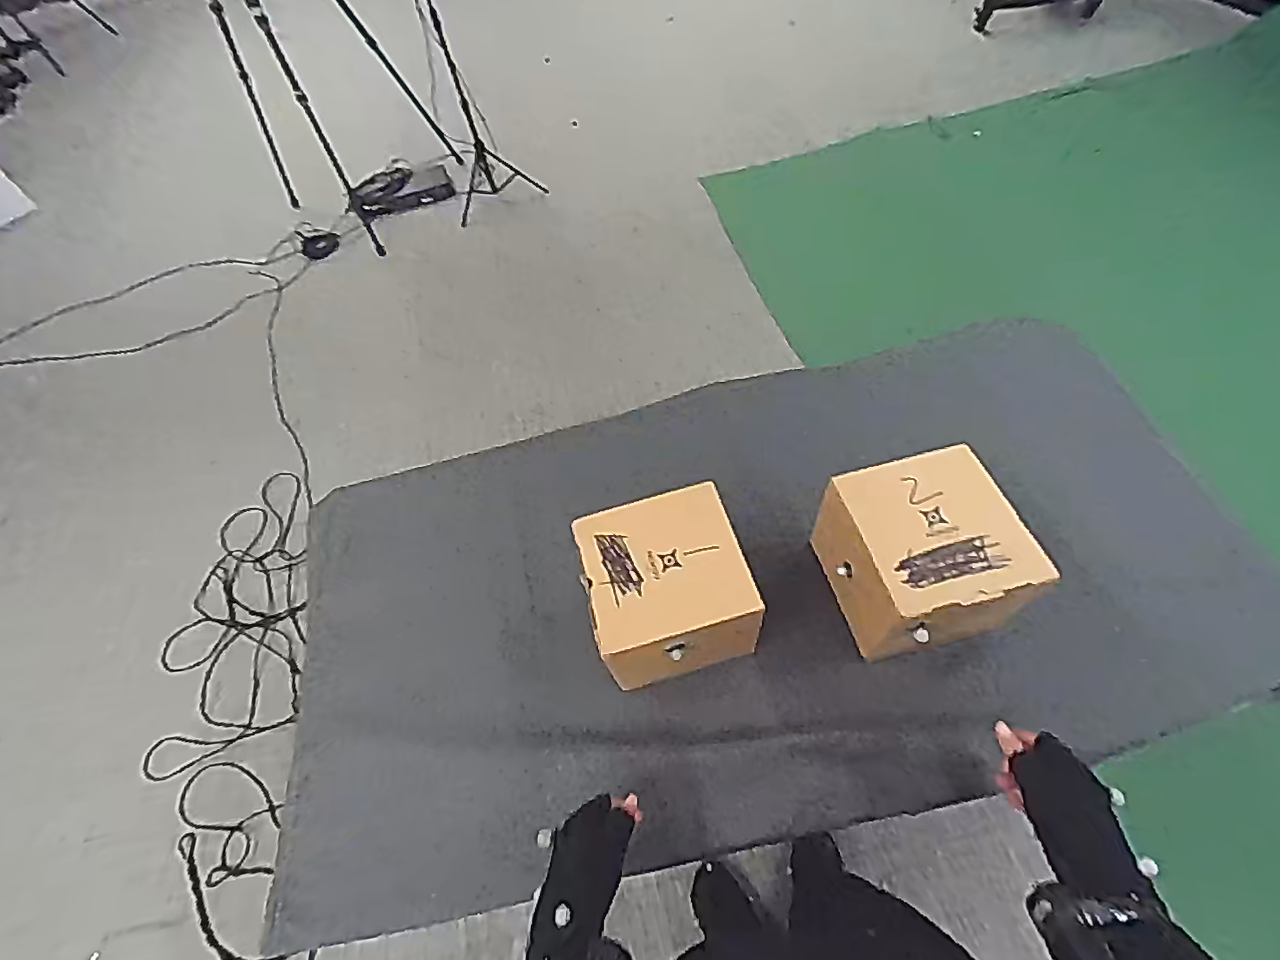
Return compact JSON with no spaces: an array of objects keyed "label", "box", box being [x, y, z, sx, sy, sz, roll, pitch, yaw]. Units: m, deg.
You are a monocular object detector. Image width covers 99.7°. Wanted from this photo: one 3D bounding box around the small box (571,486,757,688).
[{"label":"small box","box":[0.029,0.137,0.661,0.179,0.176,0.168,-16,57,-3]}]
